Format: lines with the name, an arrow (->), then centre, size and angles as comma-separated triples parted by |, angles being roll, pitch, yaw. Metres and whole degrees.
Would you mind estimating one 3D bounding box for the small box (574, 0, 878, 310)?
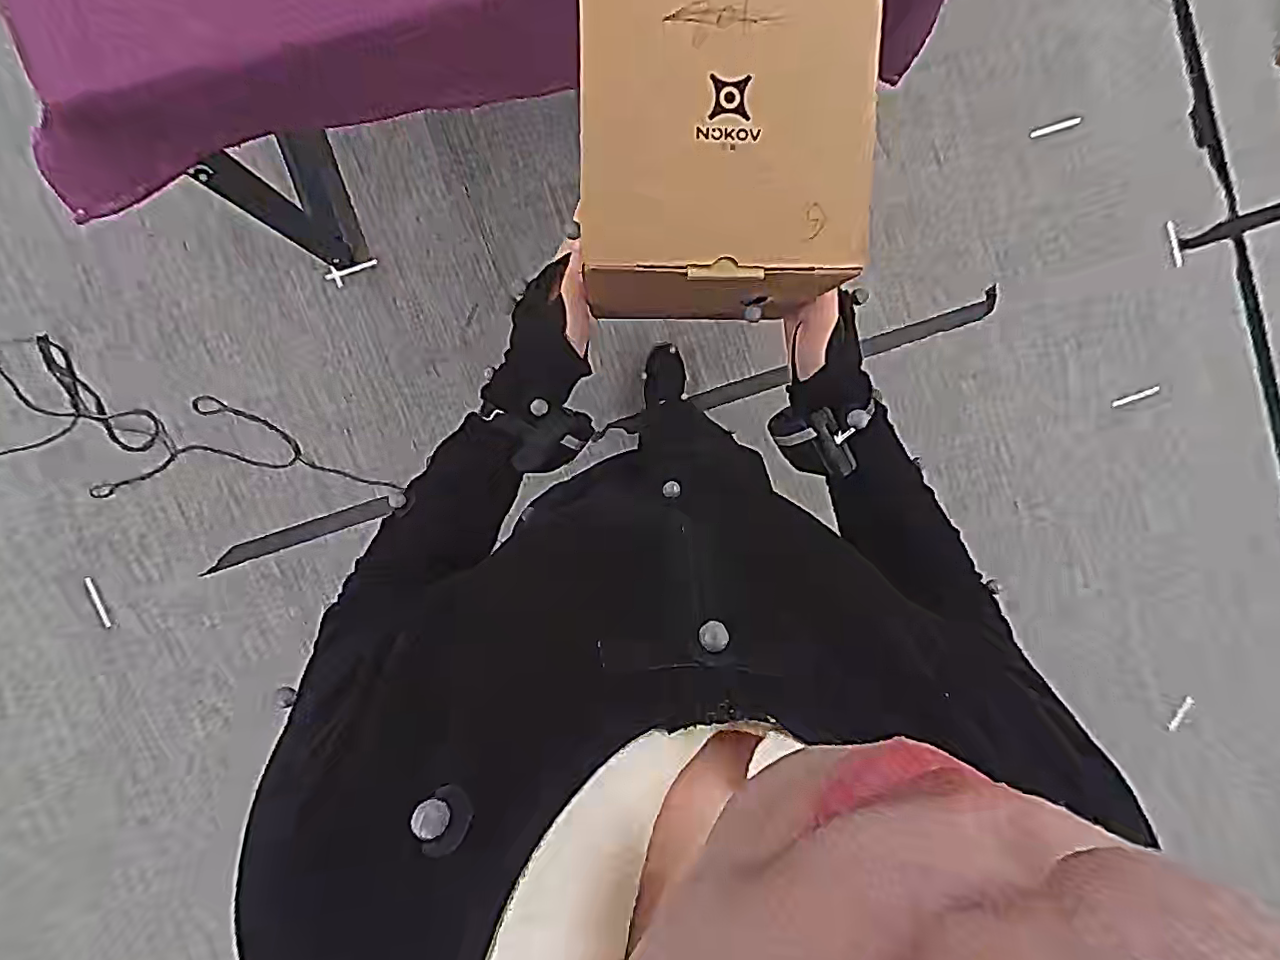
small box -> 0.042, -0.219, 0.375 | 0.168, 0.176, 0.179 | 0, 97, -3
